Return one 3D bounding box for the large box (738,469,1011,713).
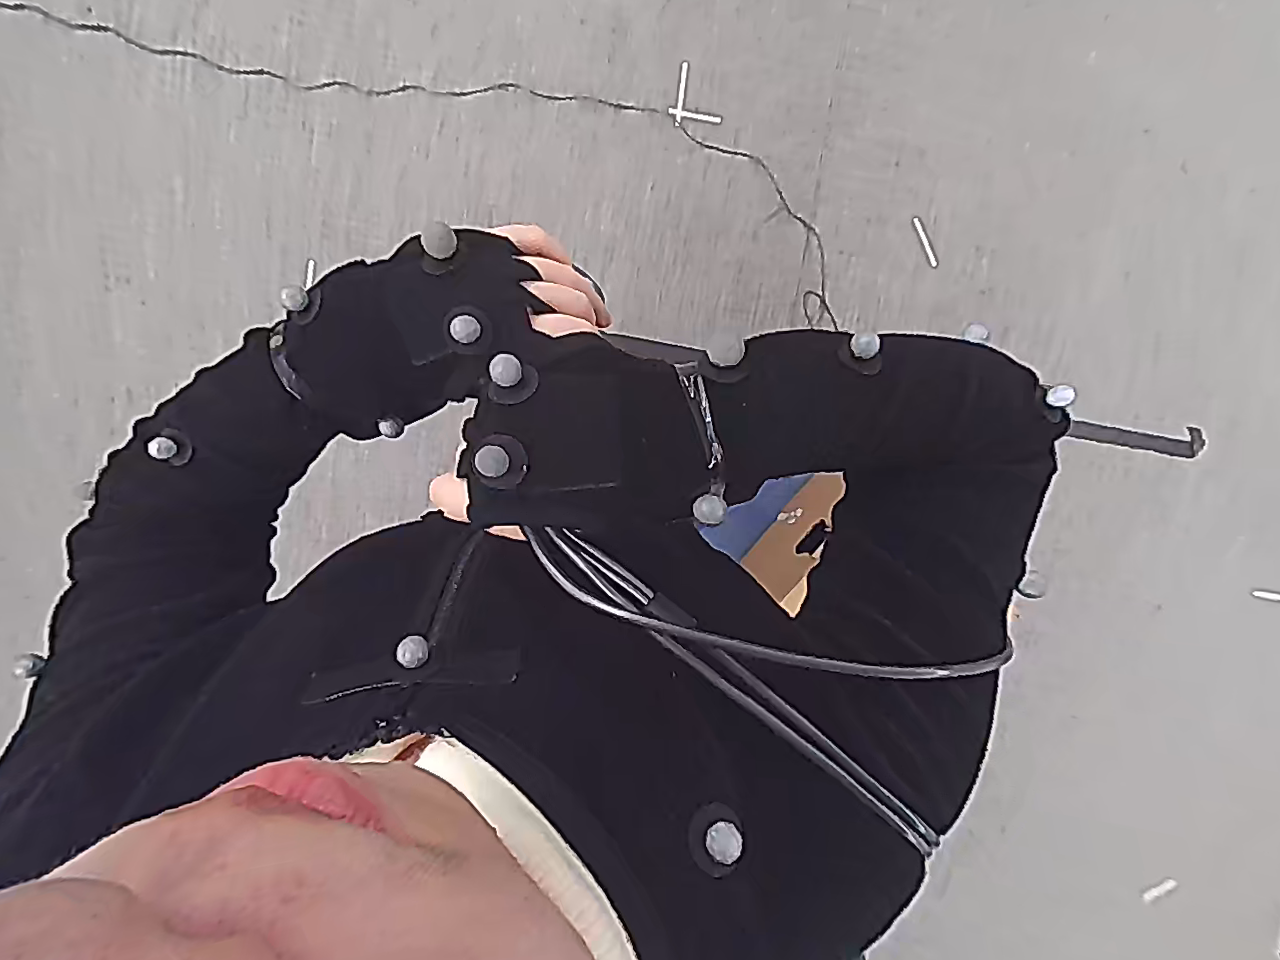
[{"bbox_3d":[0.495,0.224,1.224,0.408,0.320,0.320,40,94,-8],"label":"large box"}]
